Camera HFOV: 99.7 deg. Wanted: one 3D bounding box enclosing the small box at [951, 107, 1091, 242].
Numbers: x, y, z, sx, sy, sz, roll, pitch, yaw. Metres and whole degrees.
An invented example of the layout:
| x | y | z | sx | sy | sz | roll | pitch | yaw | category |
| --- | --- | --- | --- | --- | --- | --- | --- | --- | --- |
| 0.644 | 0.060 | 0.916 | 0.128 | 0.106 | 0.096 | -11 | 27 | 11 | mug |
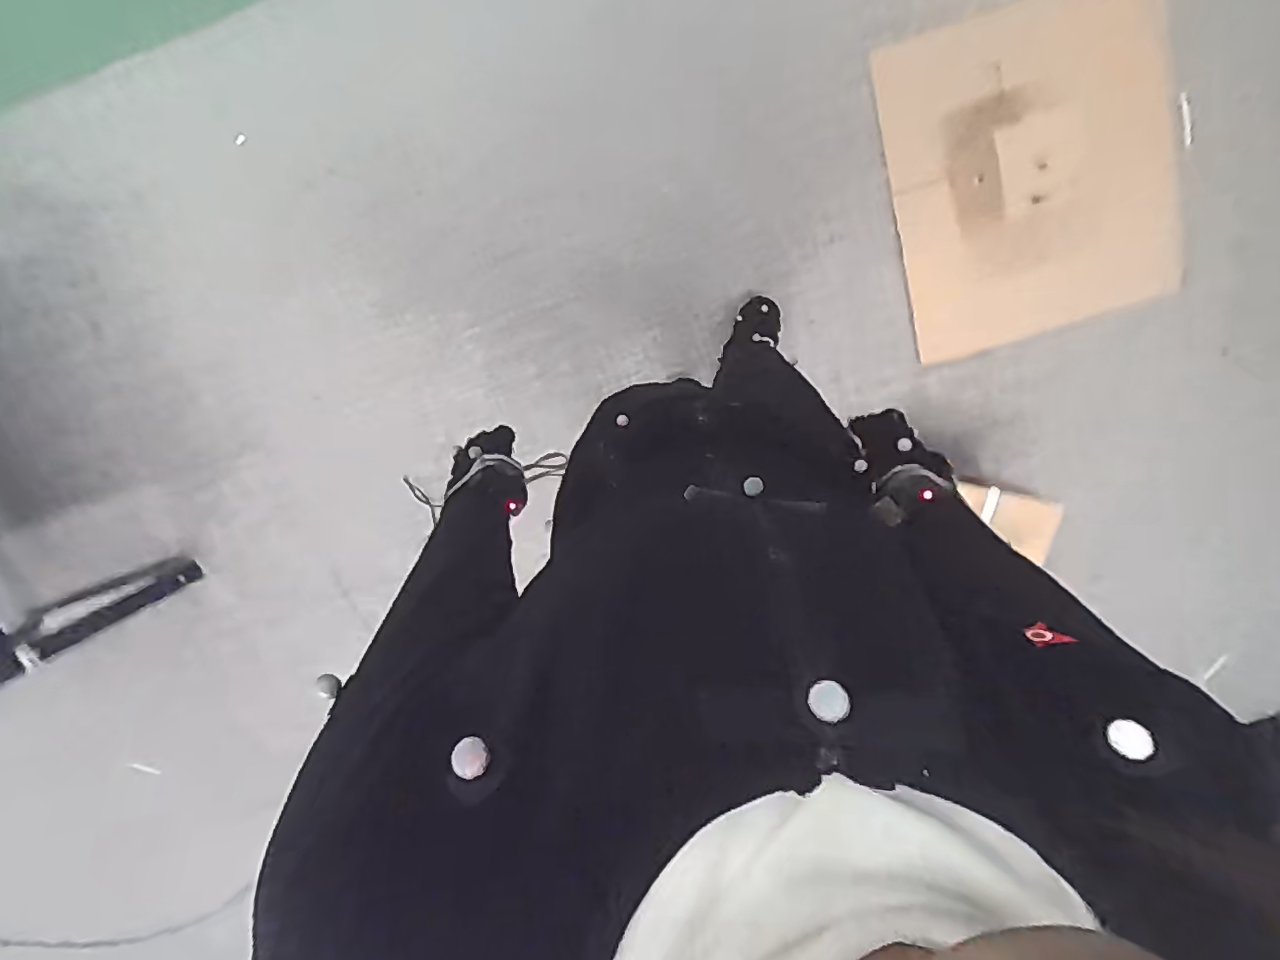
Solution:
| x | y | z | sx | sy | sz | roll | pitch | yaw | category |
| --- | --- | --- | --- | --- | --- | --- | --- | --- | --- |
| 0.796 | -0.635 | 1.147 | 0.168 | 0.176 | 0.179 | -20 | 101 | 5 | small box |
